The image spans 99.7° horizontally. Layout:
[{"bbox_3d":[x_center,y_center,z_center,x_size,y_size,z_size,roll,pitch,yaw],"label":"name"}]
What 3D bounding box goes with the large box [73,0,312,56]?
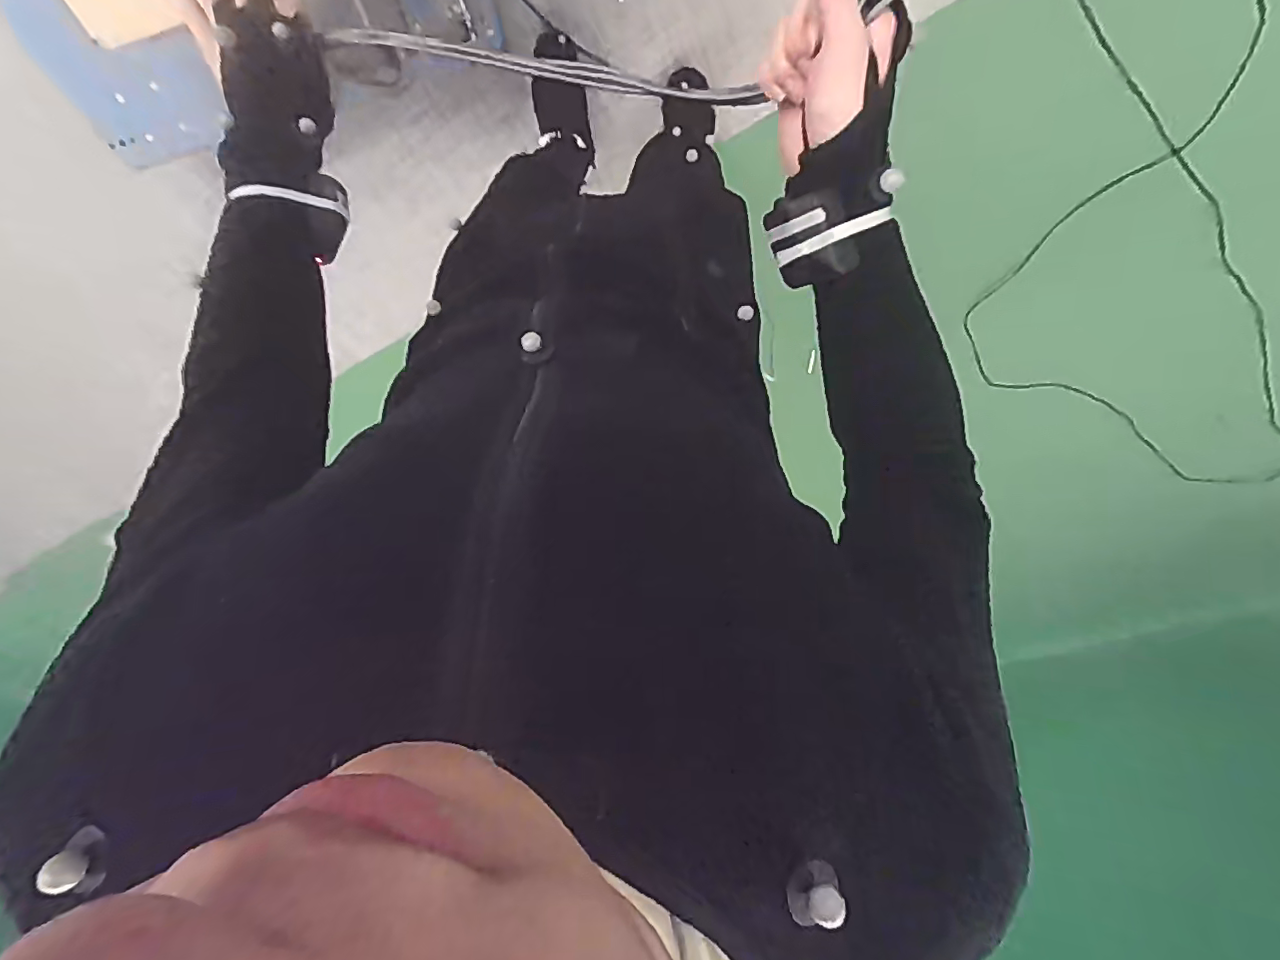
[{"bbox_3d":[-0.602,-0.858,0.751,0.408,0.320,0.320,-10,133,9],"label":"large box"}]
